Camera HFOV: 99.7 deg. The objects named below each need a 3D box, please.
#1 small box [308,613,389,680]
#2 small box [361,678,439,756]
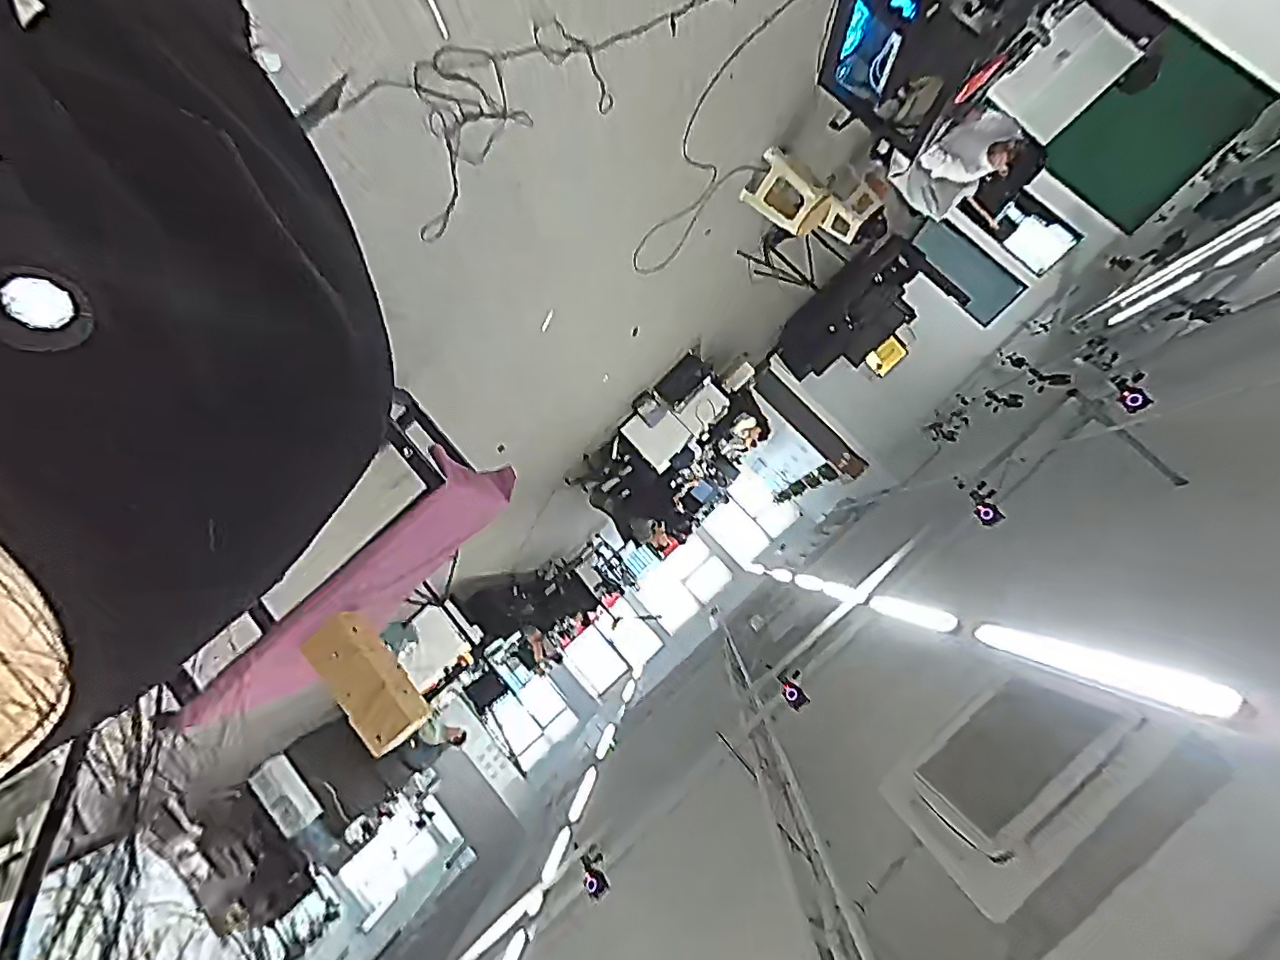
[{"bbox_3d":[-1.097,0.614,2.034,0.179,0.176,0.168,-42,170,-3],"label":"small box"},{"bbox_3d":[-0.883,0.857,1.975,0.179,0.176,0.168,-43,171,-3],"label":"small box"}]
